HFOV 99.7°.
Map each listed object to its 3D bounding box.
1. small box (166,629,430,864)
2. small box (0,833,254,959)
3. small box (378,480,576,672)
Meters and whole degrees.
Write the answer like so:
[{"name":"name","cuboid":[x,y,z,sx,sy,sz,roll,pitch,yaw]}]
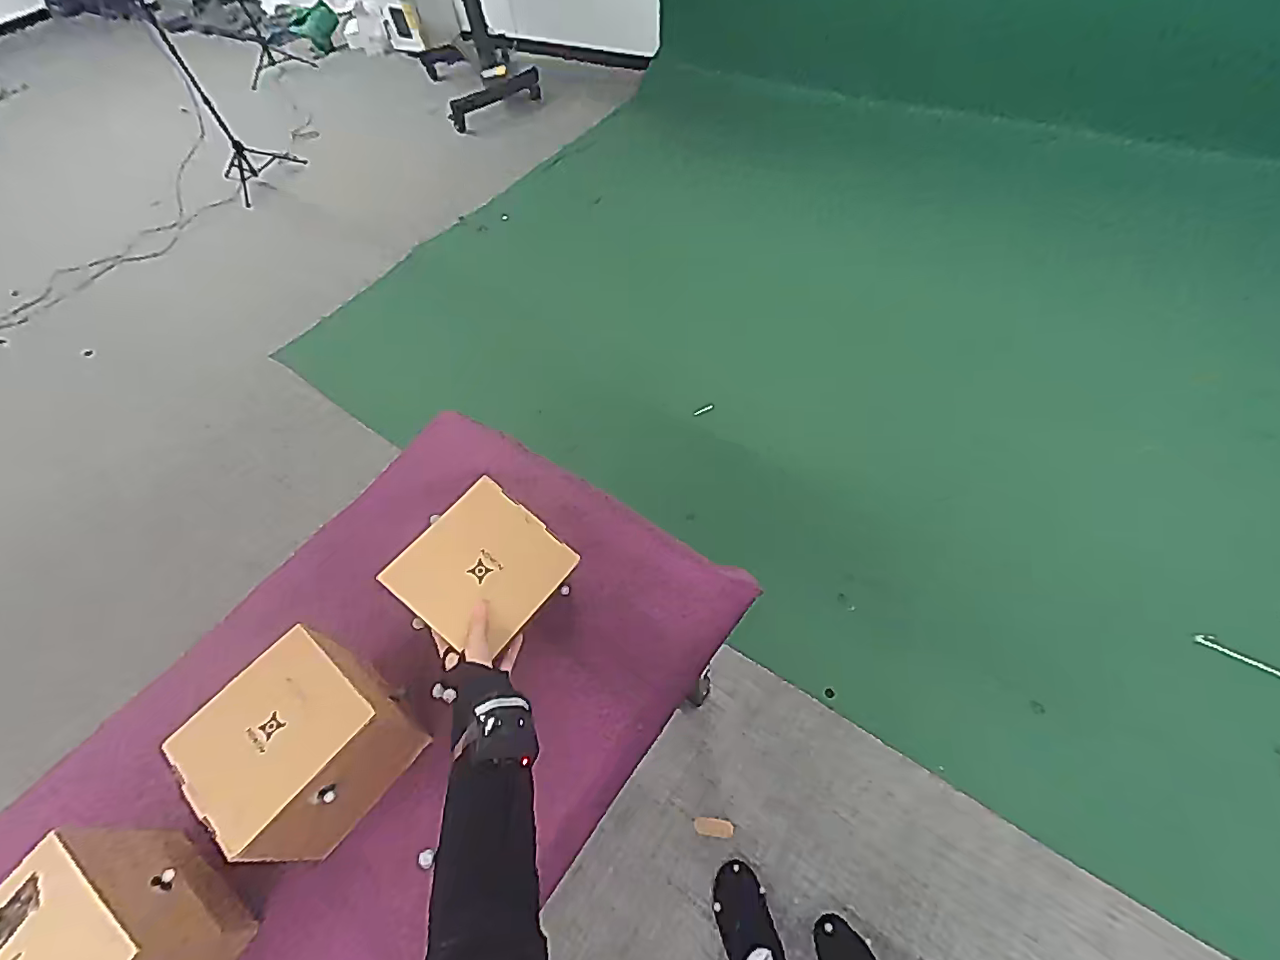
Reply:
[{"name":"small box","cuboid":[-0.393,0.321,0.651,0.168,0.176,0.179,33,64,25]},{"name":"small box","cuboid":[-0.554,0.496,0.547,0.179,0.176,0.168,26,62,22]},{"name":"small box","cuboid":[-0.205,0.137,0.723,0.168,0.176,0.179,40,66,5]}]
